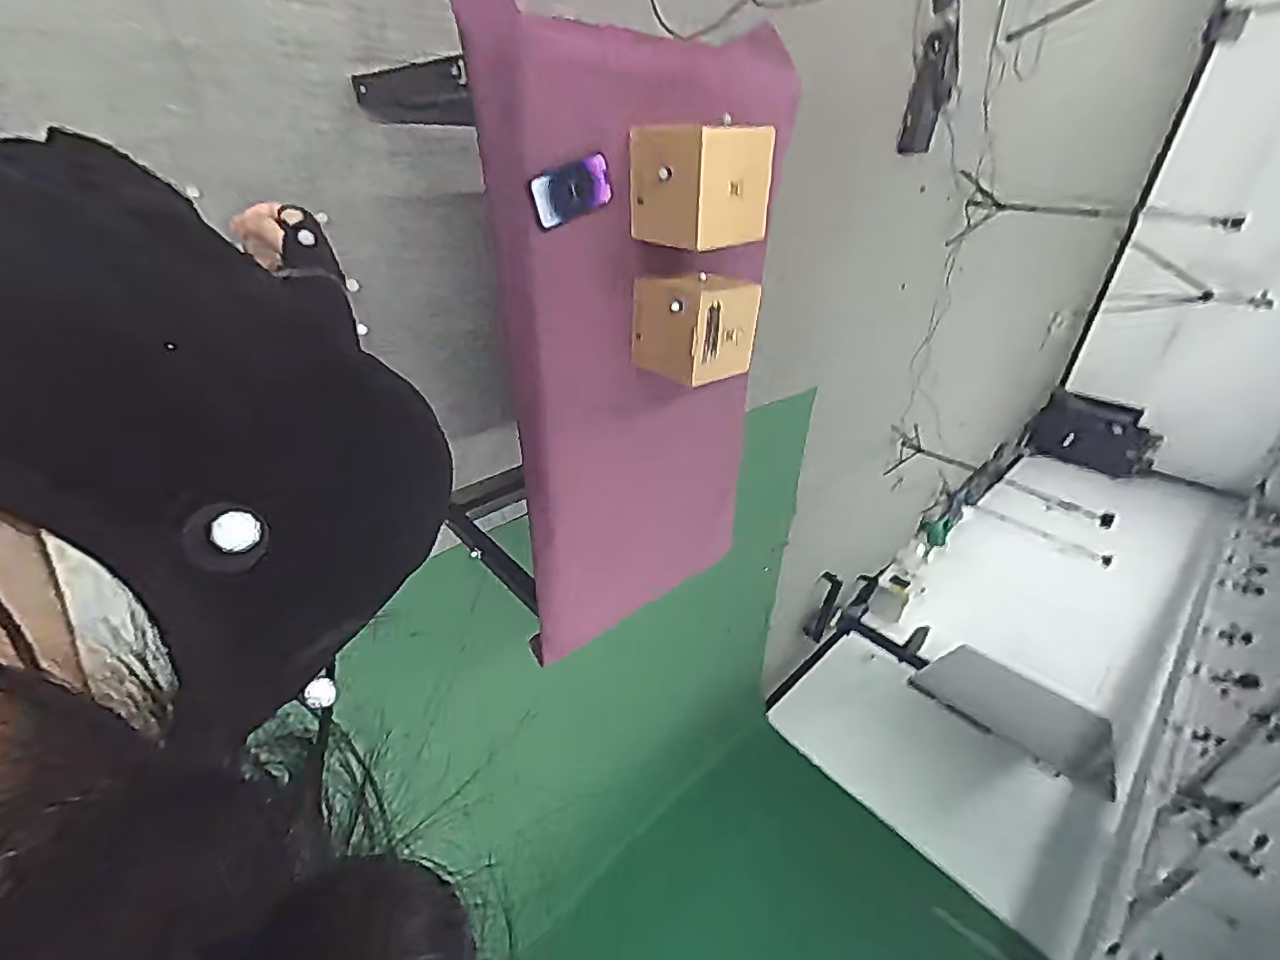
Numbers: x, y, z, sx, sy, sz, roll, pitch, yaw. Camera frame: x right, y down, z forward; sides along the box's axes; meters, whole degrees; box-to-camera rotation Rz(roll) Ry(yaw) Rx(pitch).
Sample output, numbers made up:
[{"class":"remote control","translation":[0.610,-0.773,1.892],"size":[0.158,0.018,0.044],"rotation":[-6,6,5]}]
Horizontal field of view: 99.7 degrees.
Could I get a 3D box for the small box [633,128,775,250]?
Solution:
[{"class":"small box","translation":[0.100,-0.490,0.909],"size":[0.179,0.176,0.168],"rotation":[-27,131,-35]}]
